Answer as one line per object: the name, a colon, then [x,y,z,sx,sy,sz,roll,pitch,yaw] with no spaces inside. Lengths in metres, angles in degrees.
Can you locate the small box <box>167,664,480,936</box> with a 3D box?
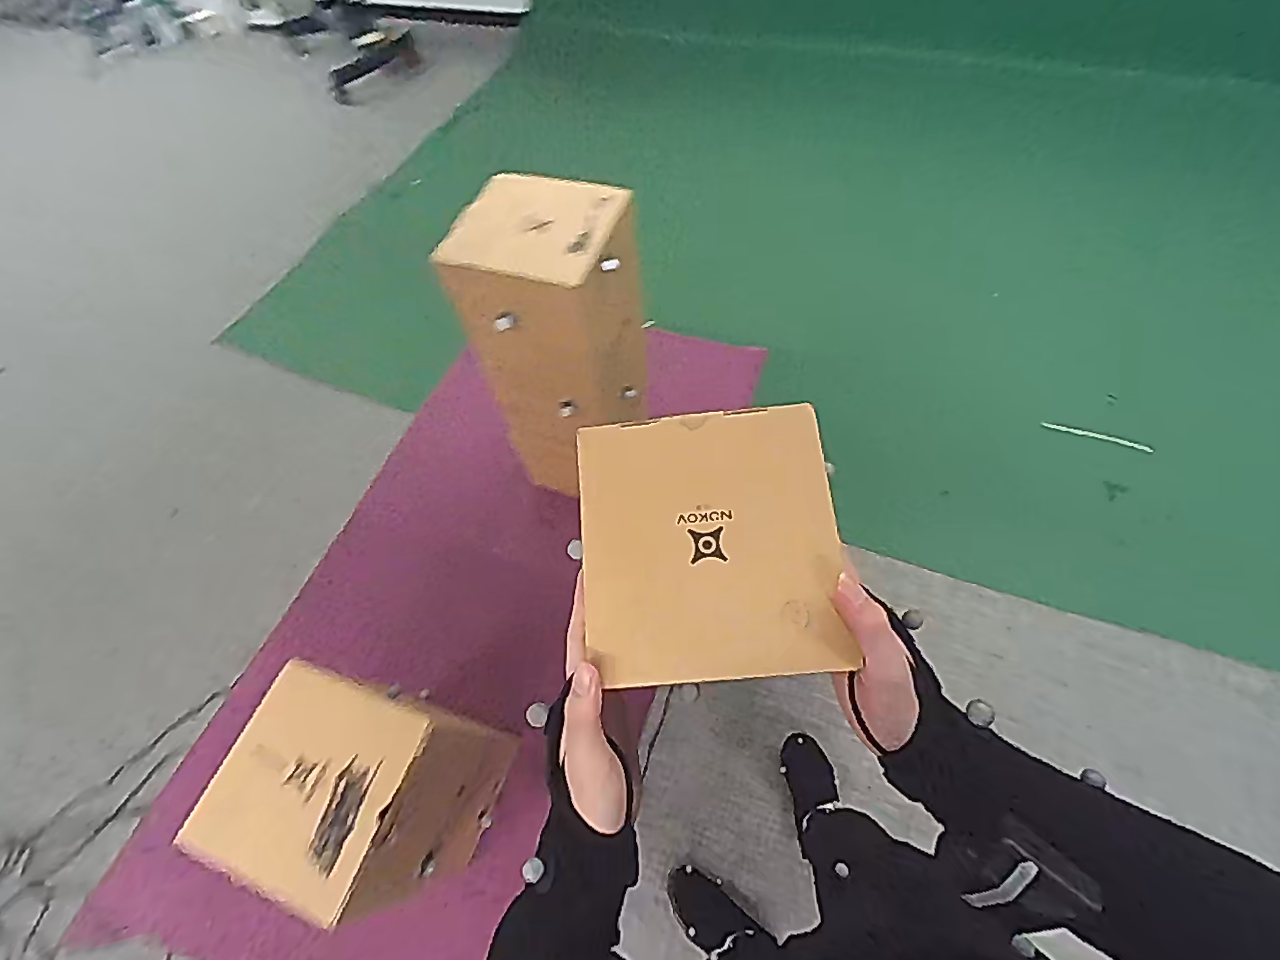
small box: [-0.292,0.308,0.547,0.179,0.176,0.168,15,63,14]

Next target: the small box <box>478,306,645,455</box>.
small box: [-0.100,-0.158,0.799,0.179,0.176,0.168,16,62,14]

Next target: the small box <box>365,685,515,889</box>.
small box: [-0.288,0.385,0.691,0.179,0.176,0.168,16,63,13]

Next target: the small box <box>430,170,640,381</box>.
small box: [-0.111,-0.242,0.658,0.179,0.176,0.168,14,63,13]

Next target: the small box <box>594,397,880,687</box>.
small box: [0.062,0.058,0.414,0.168,0.176,0.179,-5,71,5]
